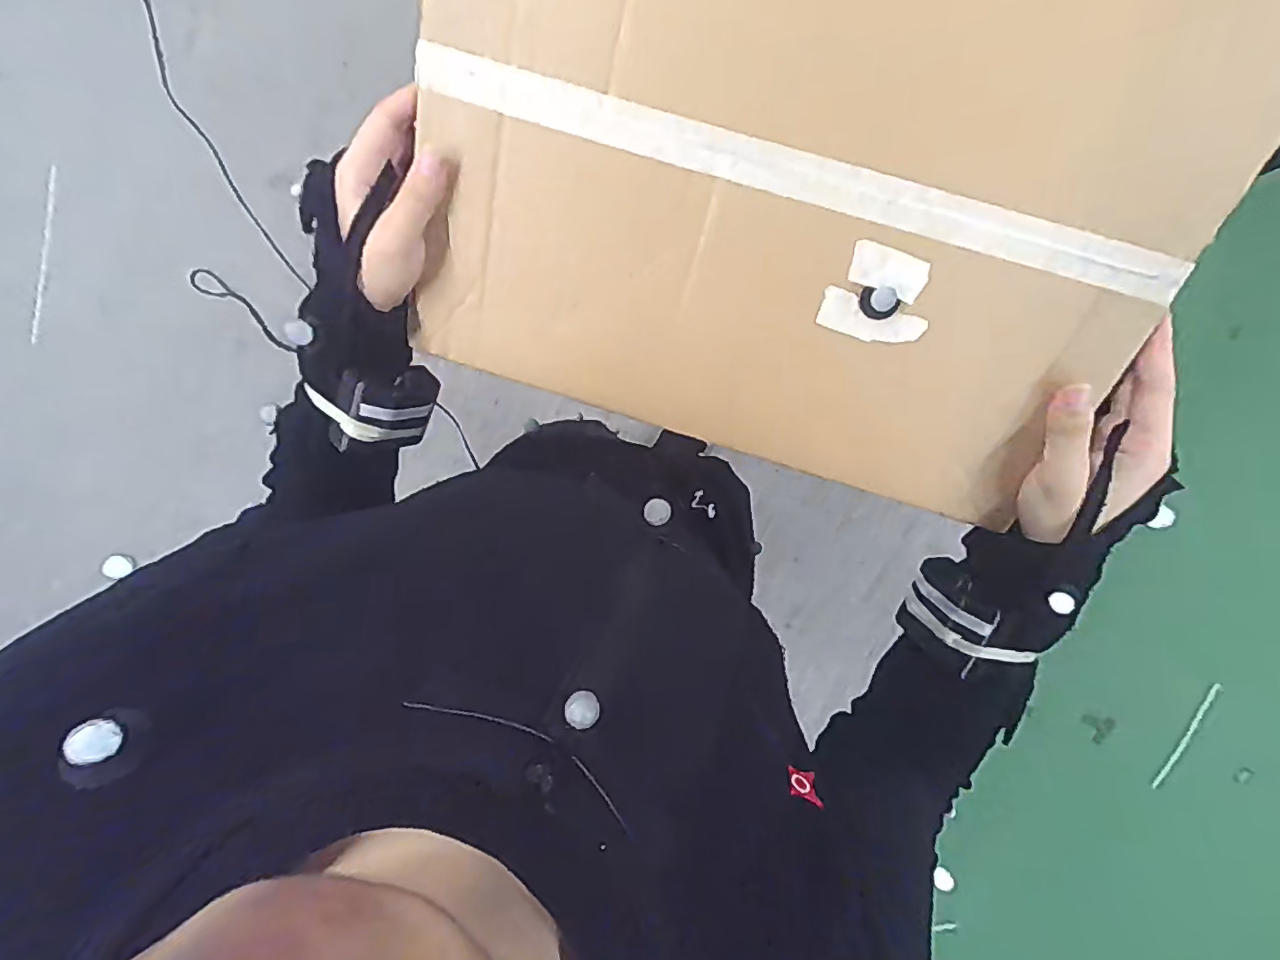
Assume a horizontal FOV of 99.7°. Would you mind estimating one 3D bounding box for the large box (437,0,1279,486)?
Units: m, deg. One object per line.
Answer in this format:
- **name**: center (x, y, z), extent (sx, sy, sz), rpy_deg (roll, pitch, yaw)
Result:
- **large box**: center (0.108, -0.242, 0.418), extent (0.408, 0.320, 0.320), rpy_deg (16, 119, 0)
